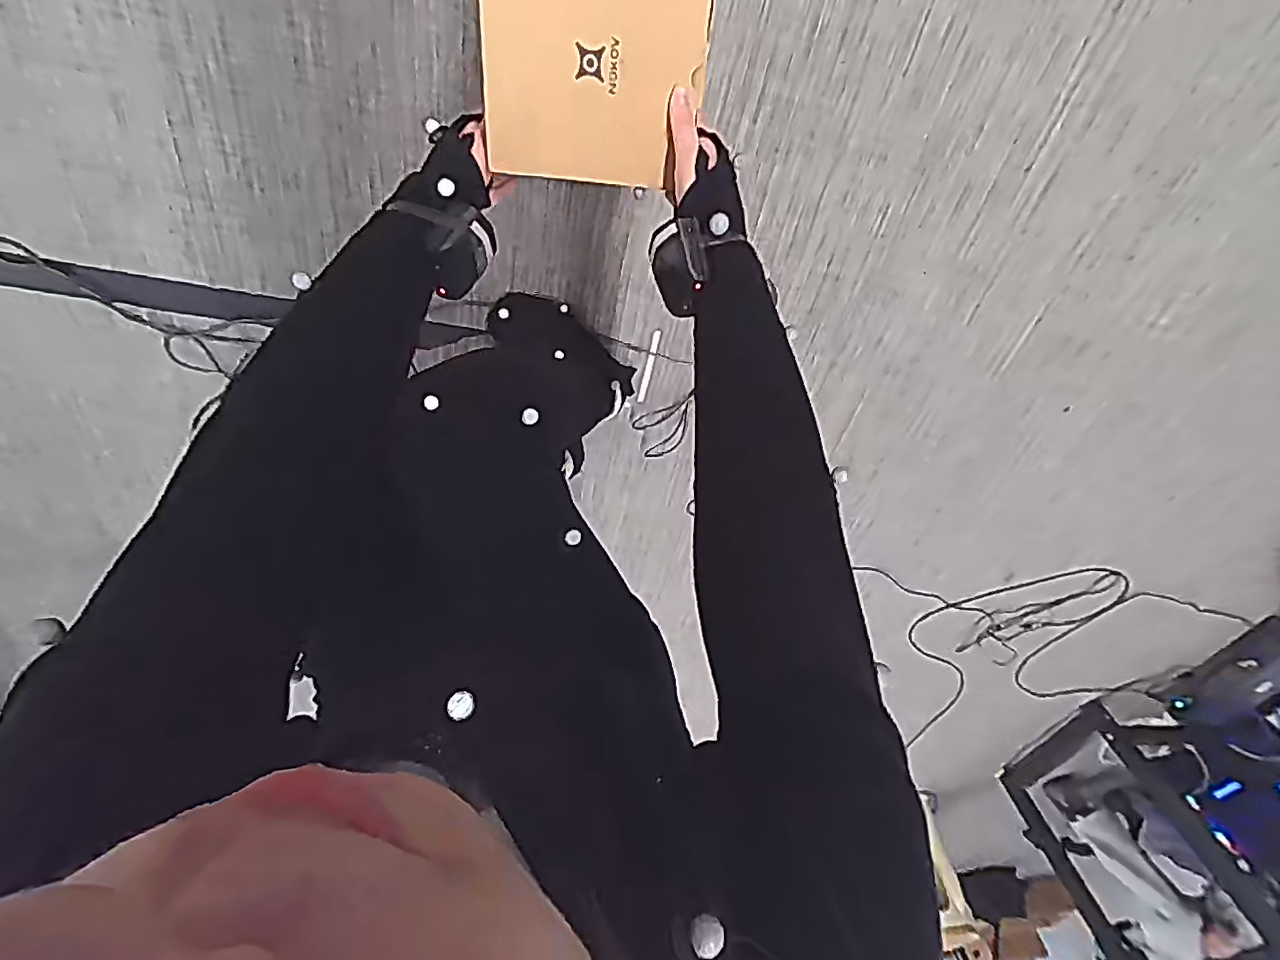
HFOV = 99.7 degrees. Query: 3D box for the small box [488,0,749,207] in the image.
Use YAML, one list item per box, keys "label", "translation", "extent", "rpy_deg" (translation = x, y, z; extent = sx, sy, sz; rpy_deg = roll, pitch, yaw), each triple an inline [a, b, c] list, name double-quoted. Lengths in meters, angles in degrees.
- label: "small box"
  translation: [-0.021, -0.340, 0.458]
  extent: [0.168, 0.176, 0.179]
  rpy_deg: [-12, 113, -23]
